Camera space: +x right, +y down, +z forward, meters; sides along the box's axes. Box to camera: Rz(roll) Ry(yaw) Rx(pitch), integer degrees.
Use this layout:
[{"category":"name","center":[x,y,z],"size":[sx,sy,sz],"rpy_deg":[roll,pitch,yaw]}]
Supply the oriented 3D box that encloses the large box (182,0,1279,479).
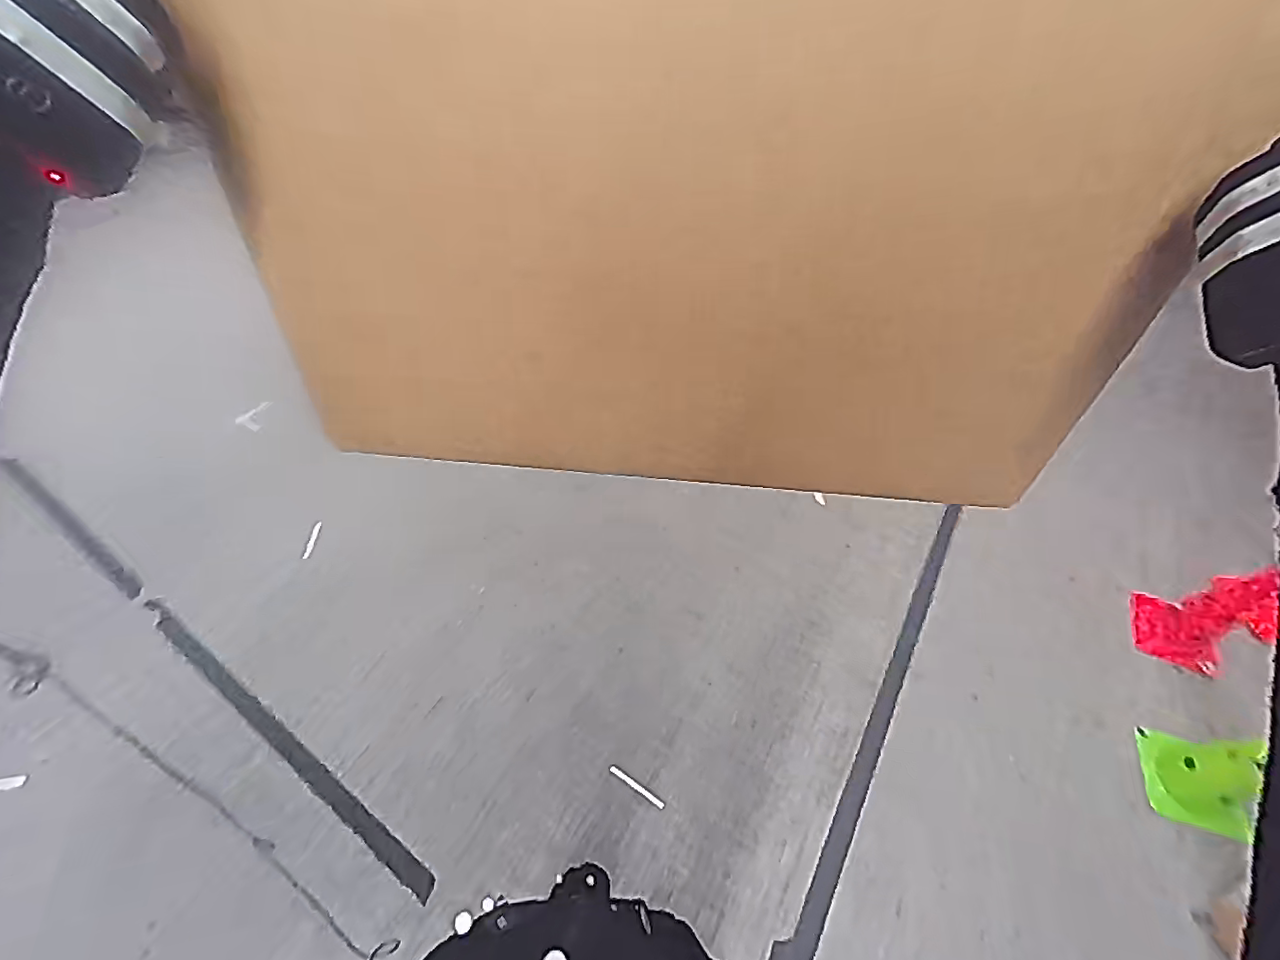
[{"category":"large box","center":[0.033,-0.221,0.334],"size":[0.408,0.320,0.320],"rpy_deg":[5,42,-1]}]
